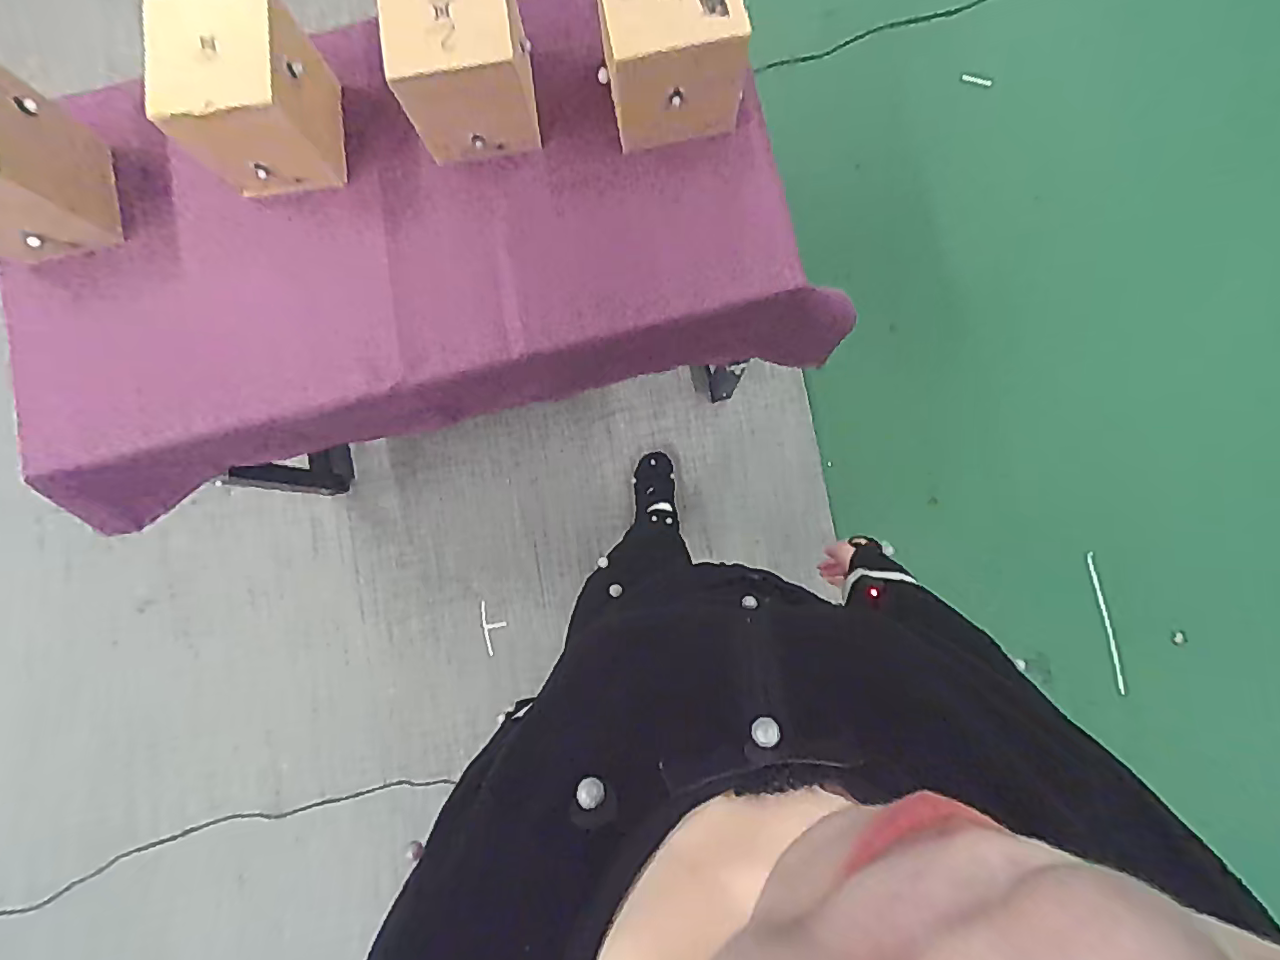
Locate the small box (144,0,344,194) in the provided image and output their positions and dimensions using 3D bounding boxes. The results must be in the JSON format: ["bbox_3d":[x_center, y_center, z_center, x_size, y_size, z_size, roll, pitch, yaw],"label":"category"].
[{"bbox_3d":[-0.550,-0.546,0.771,0.168,0.176,0.179,-6,85,1],"label":"small box"}]

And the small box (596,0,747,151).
[{"bbox_3d":[0.038,-0.602,0.754,0.179,0.176,0.168,-11,84,3],"label":"small box"}]

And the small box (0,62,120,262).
[{"bbox_3d":[-0.904,-0.446,0.770,0.168,0.176,0.179,-13,85,1],"label":"small box"}]
